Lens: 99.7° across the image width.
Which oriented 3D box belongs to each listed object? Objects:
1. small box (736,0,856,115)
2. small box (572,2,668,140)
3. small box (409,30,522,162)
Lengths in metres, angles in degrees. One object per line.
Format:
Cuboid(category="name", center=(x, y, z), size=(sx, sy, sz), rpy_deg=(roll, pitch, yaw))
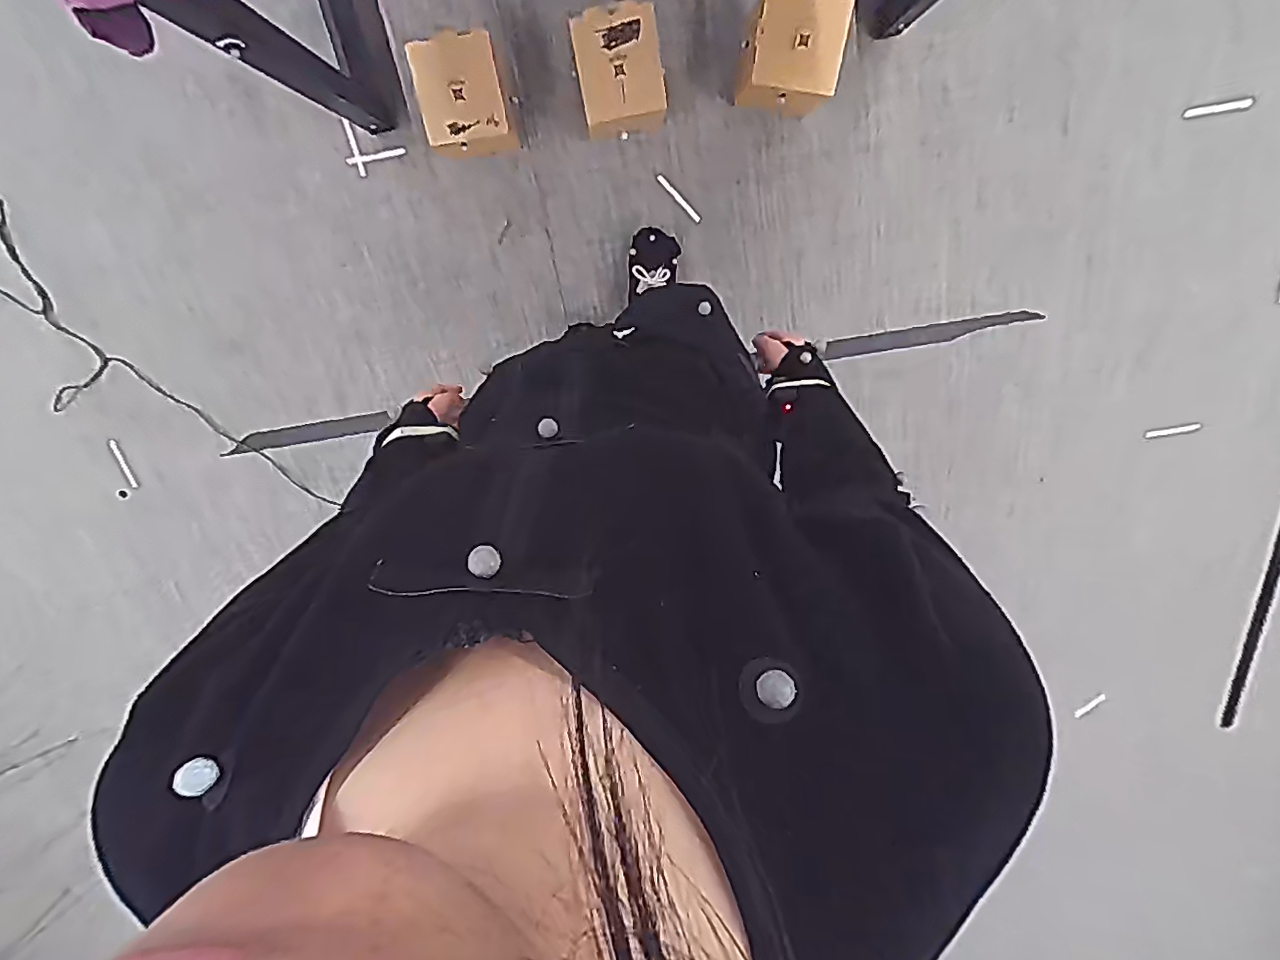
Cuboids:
Cuboid(category="small box", center=(0.313, -0.881, 1.121), size=(0.179, 0.176, 0.168), rpy_deg=(6, 111, -4))
Cuboid(category="small box", center=(-0.041, -0.836, 1.123), size=(0.168, 0.176, 0.179), rpy_deg=(-10, 112, 2))
Cuboid(category="small box", center=(-0.354, -0.791, 1.129), size=(0.168, 0.176, 0.179), rpy_deg=(-8, 110, 1))
